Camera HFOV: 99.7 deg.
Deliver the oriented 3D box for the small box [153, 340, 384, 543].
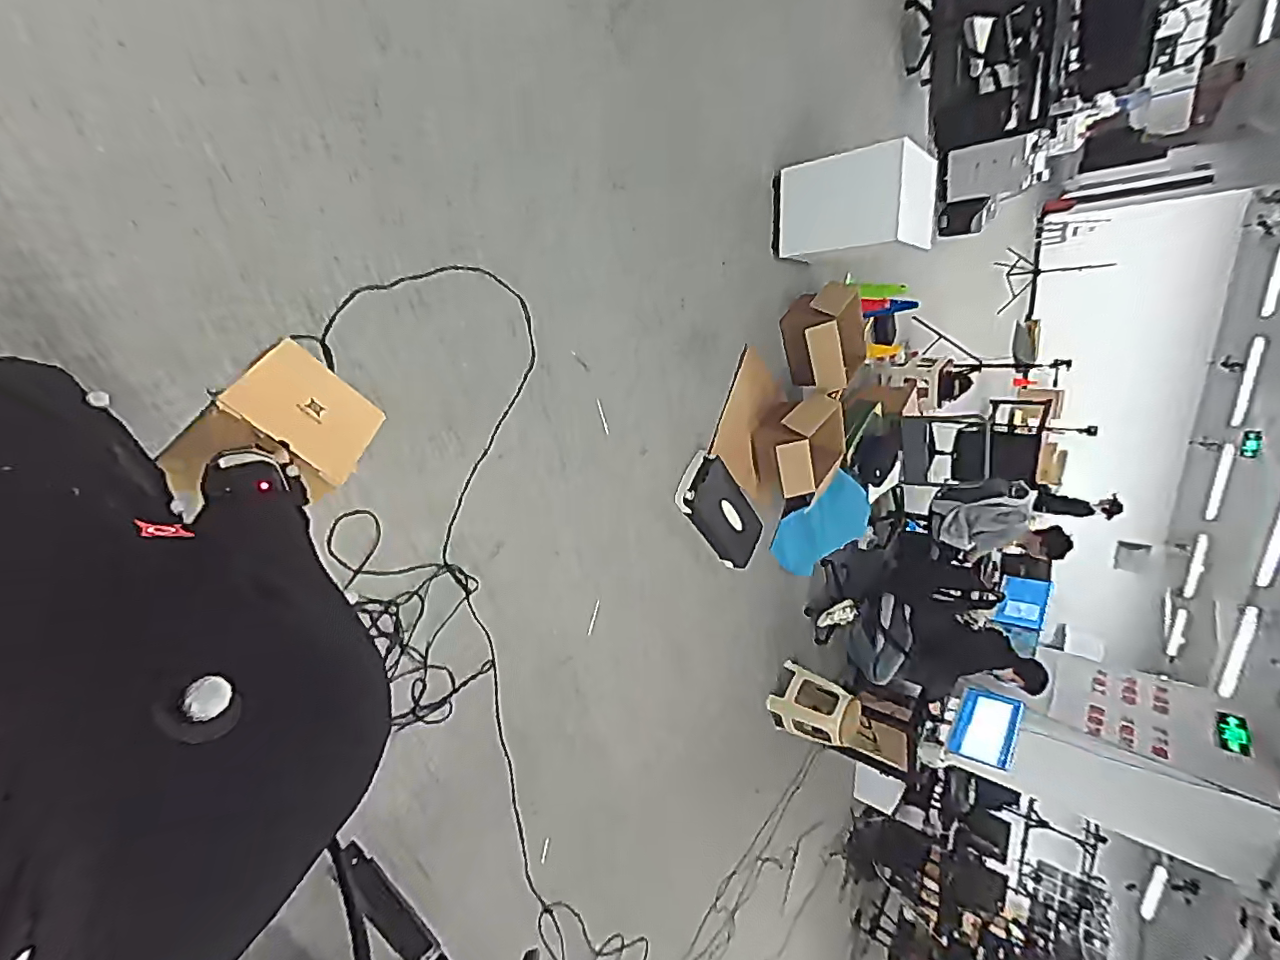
[{"bbox_3d":[-0.492,-0.050,0.731,0.168,0.176,0.179,46,24,-31],"label":"small box"}]
